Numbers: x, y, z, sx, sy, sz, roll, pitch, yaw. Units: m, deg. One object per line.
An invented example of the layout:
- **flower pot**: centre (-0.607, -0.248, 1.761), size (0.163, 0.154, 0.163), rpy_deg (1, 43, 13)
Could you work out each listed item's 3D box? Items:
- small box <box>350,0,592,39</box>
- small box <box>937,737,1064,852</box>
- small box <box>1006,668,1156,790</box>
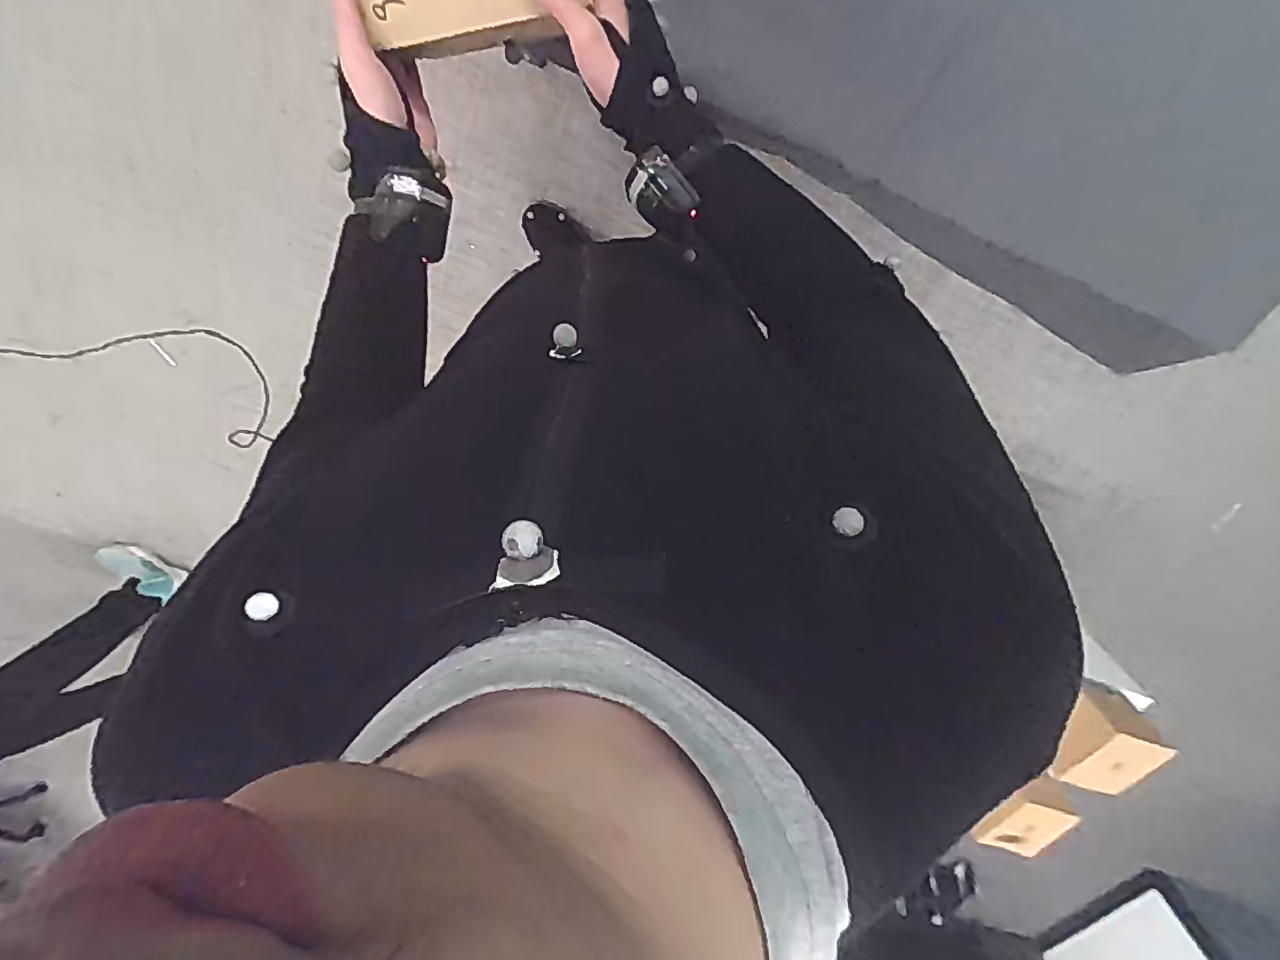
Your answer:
- **small box**: centre (-0.129, -0.447, 0.400), size (0.179, 0.176, 0.168), rpy_deg (-7, 125, 1)
- **small box**: centre (0.884, 0.784, 1.353), size (0.168, 0.176, 0.179), rpy_deg (21, 115, -12)
- **small box**: centre (0.989, 0.568, 1.239), size (0.168, 0.176, 0.179), rpy_deg (18, 117, -12)
